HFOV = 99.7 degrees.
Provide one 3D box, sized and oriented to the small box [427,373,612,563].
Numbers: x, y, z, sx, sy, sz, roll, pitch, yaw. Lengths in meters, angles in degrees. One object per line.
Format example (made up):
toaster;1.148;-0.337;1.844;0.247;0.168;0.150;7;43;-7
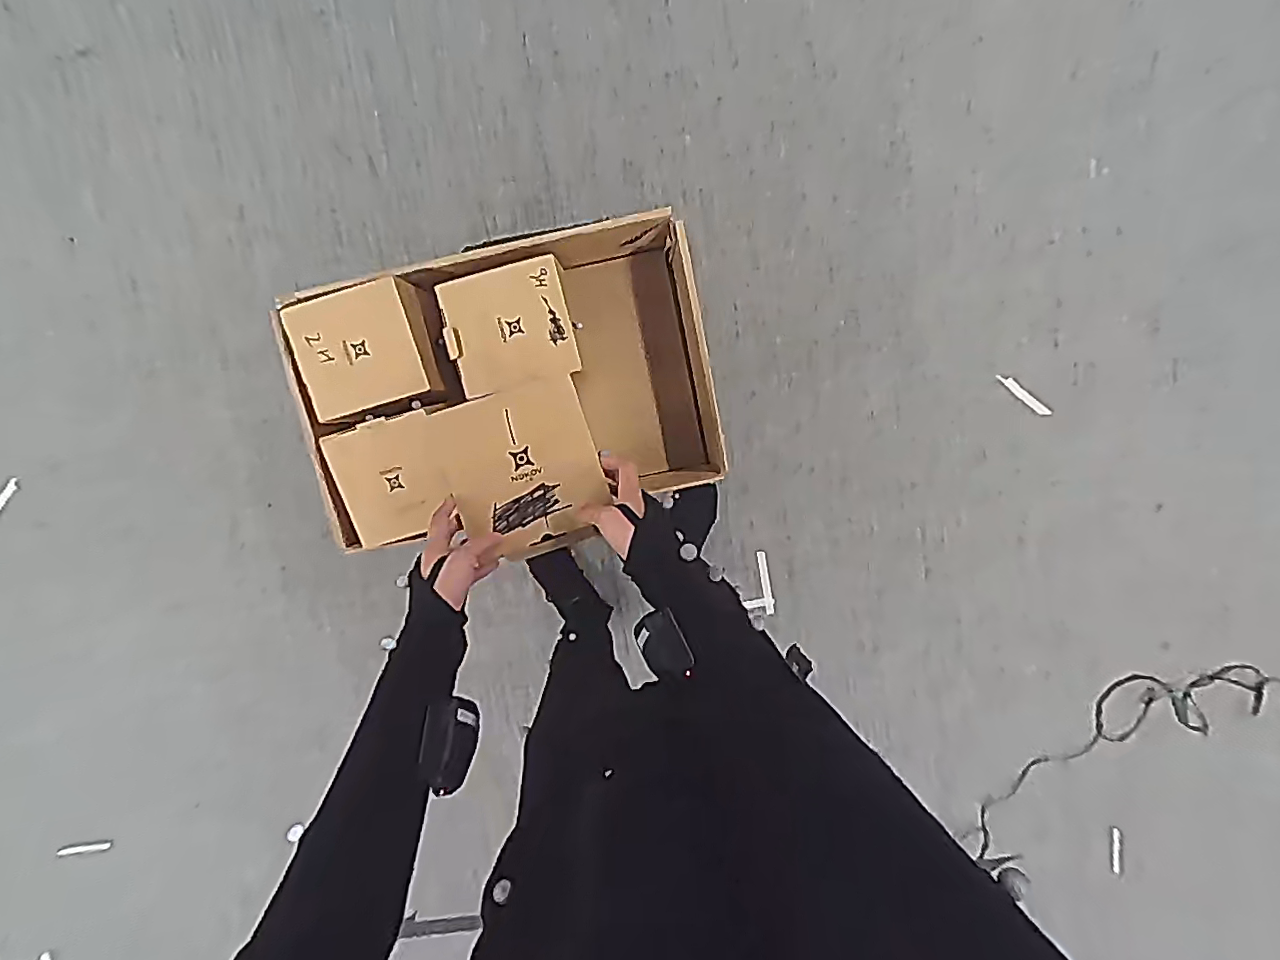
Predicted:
small box;-0.135;-0.013;0.676;0.168;0.176;0.179;-19;90;-4
